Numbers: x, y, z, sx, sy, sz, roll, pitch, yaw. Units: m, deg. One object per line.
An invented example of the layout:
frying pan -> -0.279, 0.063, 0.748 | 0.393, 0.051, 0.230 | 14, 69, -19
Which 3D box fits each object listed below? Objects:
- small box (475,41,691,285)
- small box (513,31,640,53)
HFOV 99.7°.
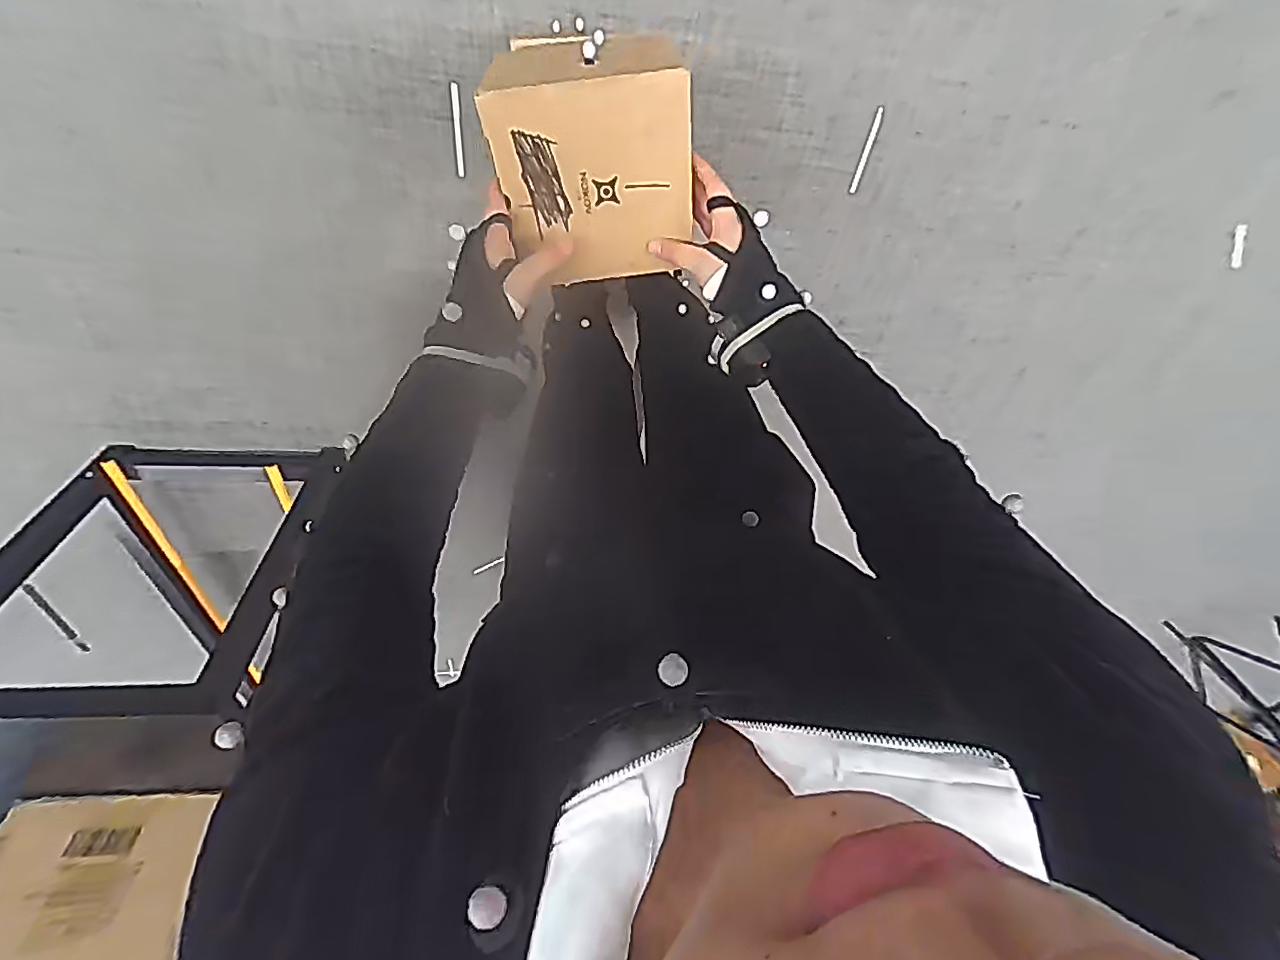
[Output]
small box -> -0.046, -0.318, 0.541 | 0.179, 0.176, 0.168 | -7, 136, 0
small box -> -0.085, -0.545, 0.794 | 0.168, 0.176, 0.179 | -3, 132, -2
